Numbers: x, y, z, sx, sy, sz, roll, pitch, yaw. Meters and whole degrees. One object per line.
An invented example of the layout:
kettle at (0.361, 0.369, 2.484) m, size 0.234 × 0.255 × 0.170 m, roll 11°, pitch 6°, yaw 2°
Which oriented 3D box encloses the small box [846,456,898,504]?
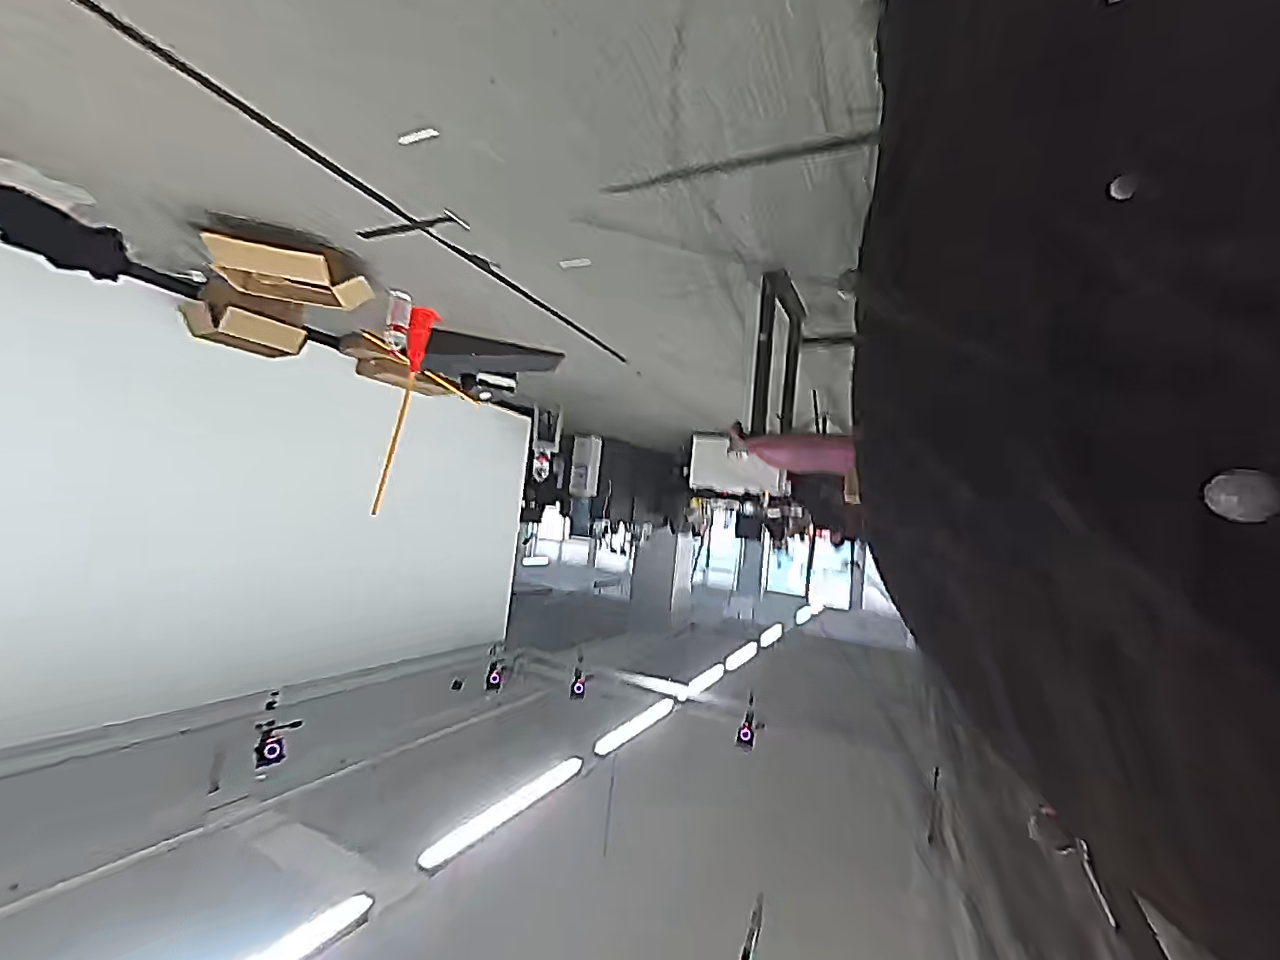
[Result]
small box at (0.912, 0.000, 2.122) m, size 0.179 × 0.176 × 0.168 m, roll 5°, pitch 175°, yaw 24°
